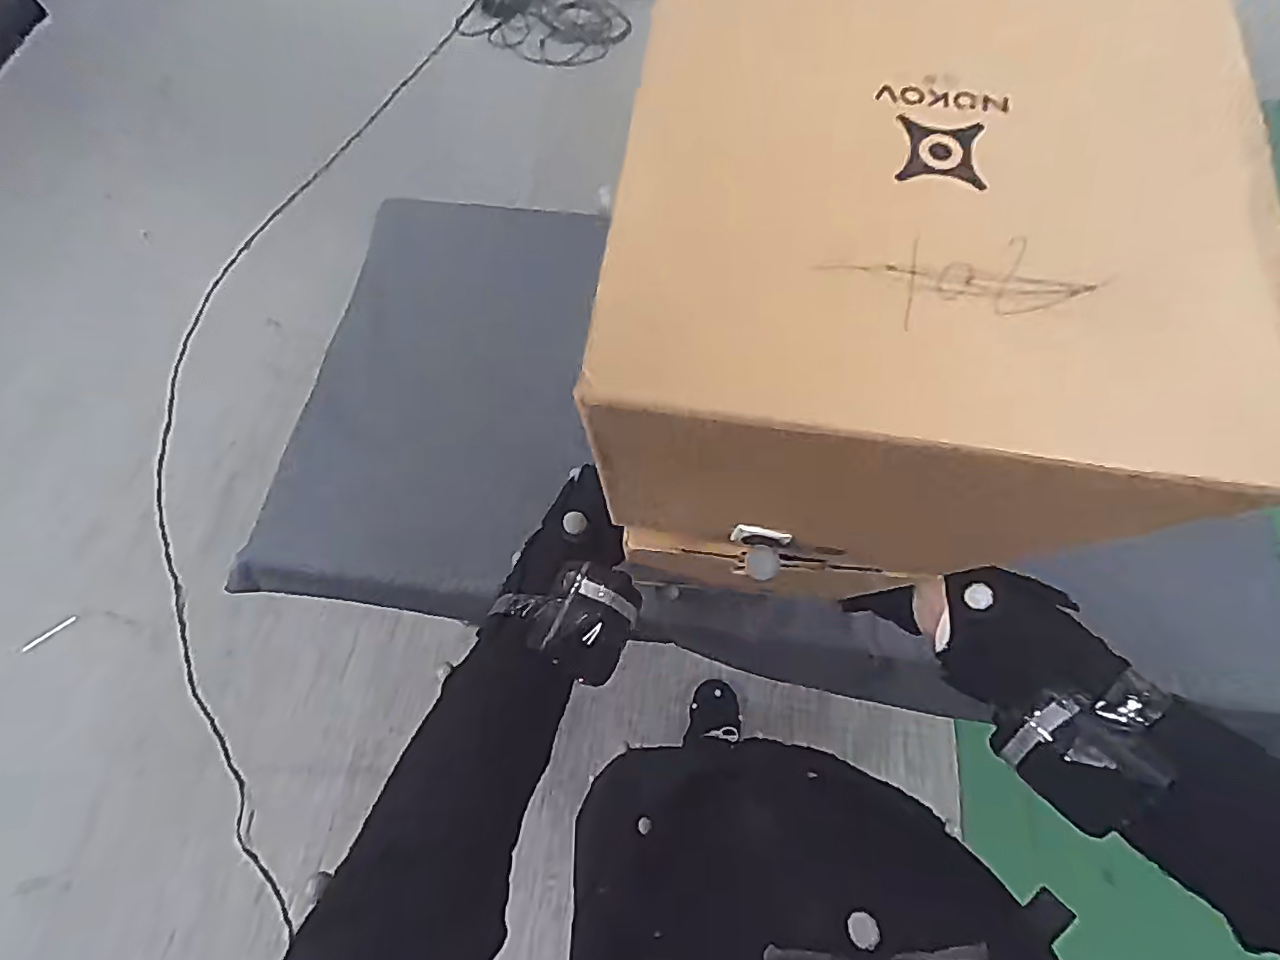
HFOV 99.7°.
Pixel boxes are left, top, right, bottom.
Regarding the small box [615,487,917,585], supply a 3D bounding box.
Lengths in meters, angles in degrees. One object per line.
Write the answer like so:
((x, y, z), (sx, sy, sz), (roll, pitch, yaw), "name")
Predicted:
((0.078, -0.024, 0.387), (0.168, 0.176, 0.179), (5, 73, 2), "small box")

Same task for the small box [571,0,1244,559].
((0.076, -0.073, 0.232), (0.168, 0.176, 0.179), (7, 75, 4), "small box")
